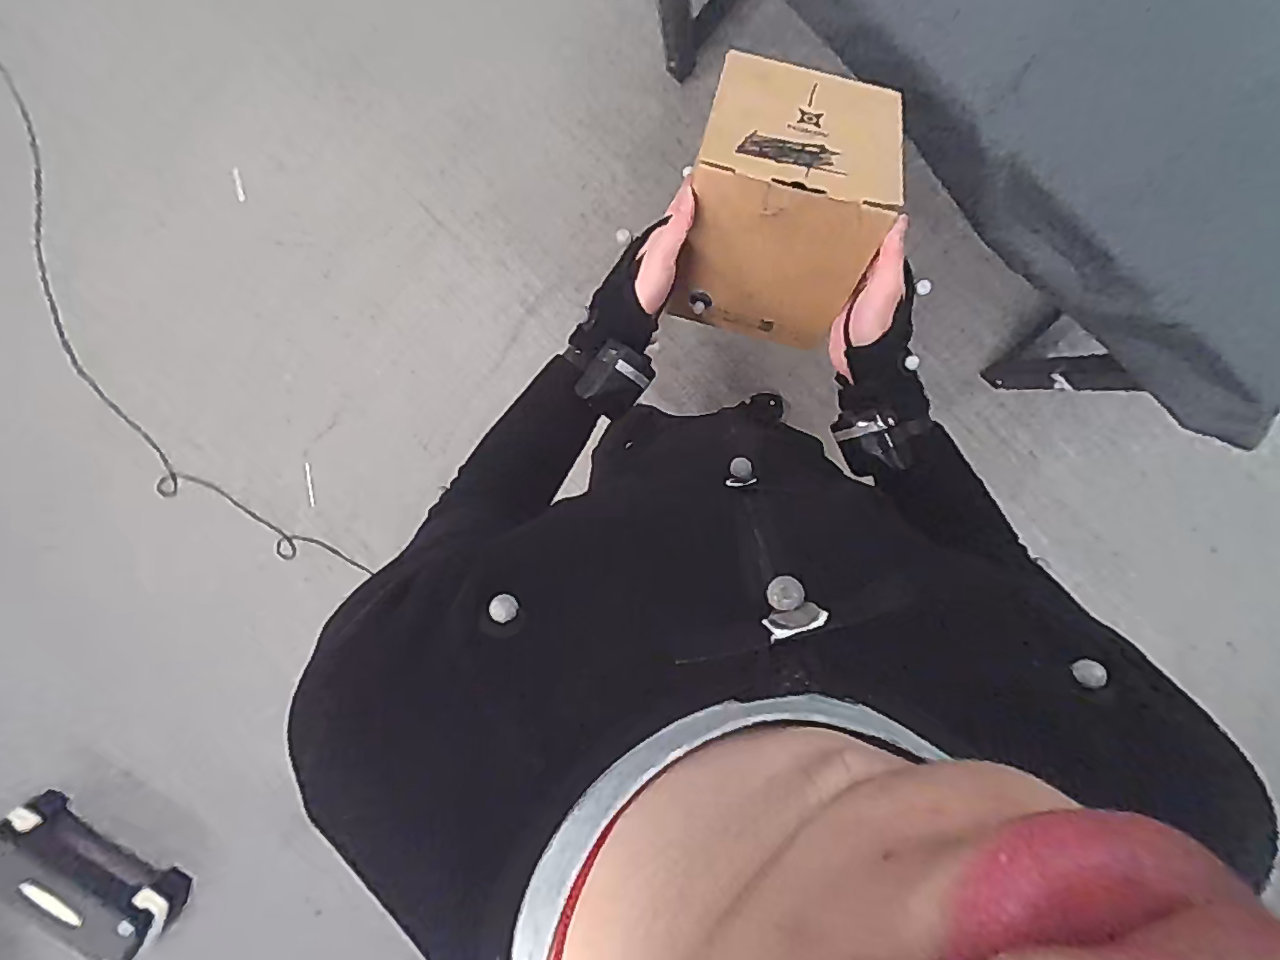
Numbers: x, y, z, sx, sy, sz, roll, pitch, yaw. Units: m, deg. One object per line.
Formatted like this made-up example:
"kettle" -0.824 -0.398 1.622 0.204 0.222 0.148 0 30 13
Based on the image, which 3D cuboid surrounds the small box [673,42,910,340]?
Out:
"small box" 0.135 -0.265 0.521 0.168 0.176 0.179 15 63 0
